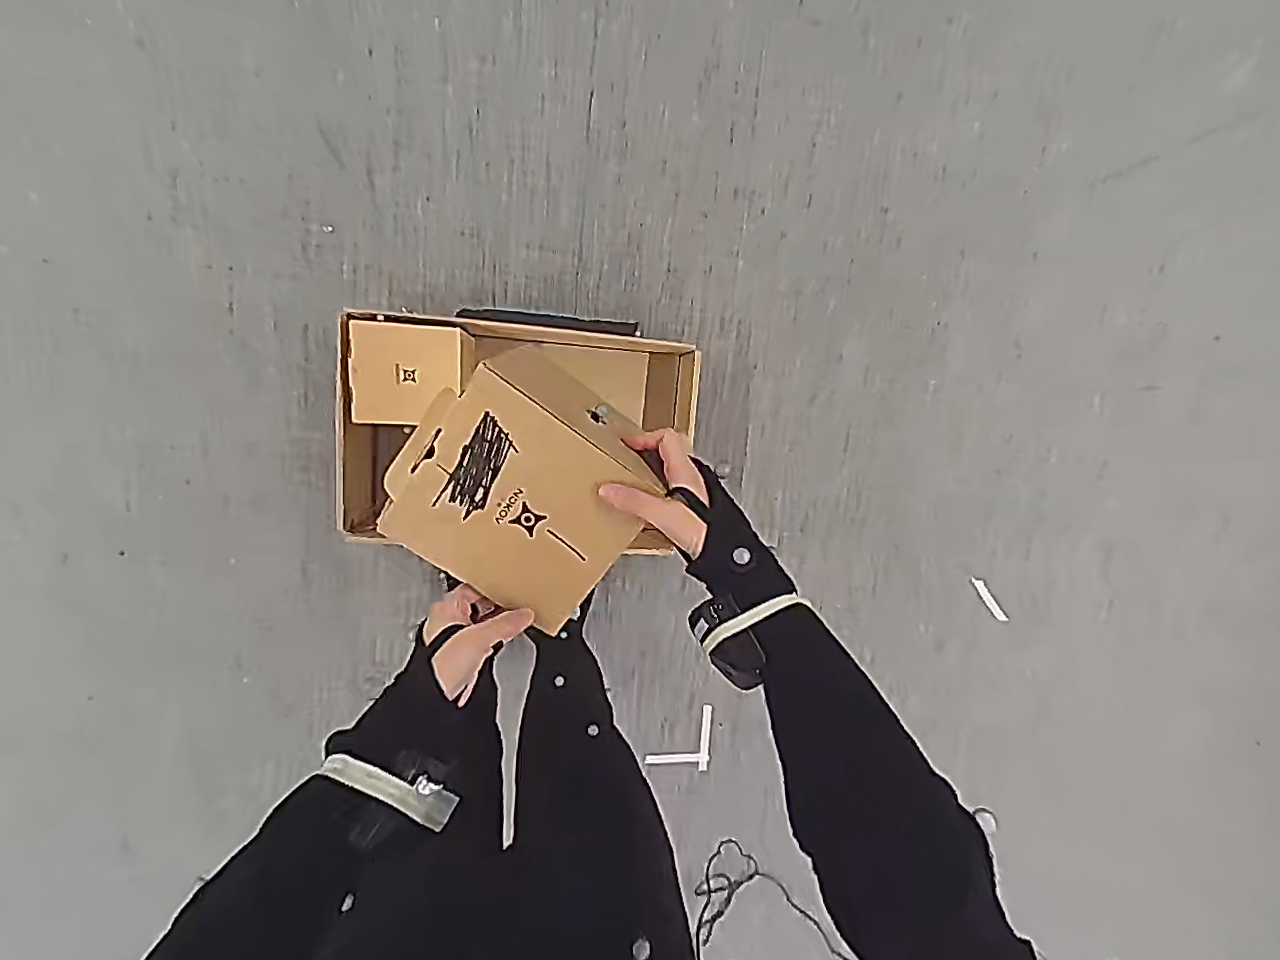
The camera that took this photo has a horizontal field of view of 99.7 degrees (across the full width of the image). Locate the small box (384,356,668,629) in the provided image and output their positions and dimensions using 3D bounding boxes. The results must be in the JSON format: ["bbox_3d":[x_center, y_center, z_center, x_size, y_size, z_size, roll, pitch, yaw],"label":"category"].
[{"bbox_3d":[-0.094,-0.002,0.512,0.179,0.176,0.168,35,105,-11],"label":"small box"}]
